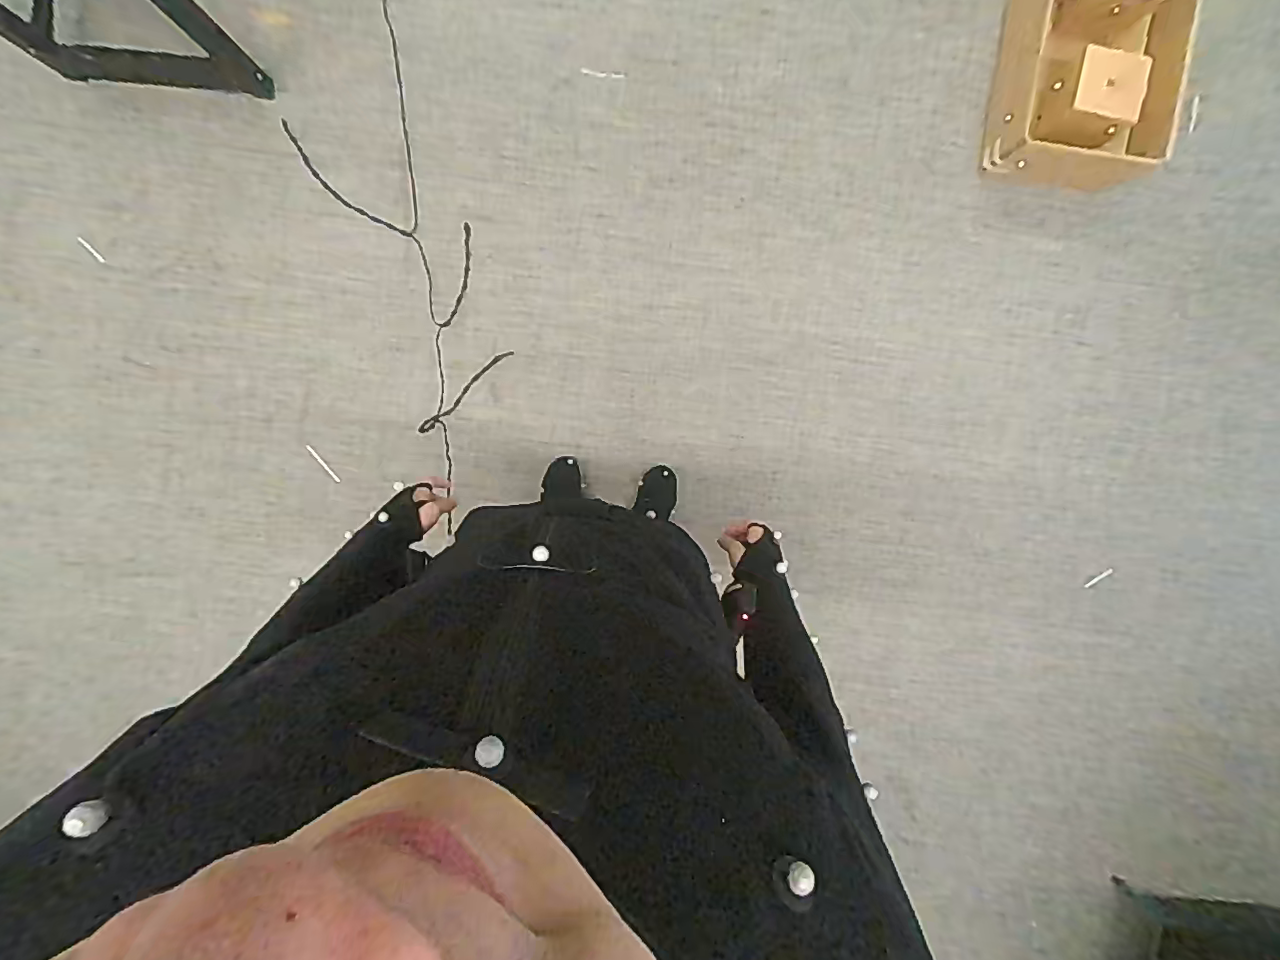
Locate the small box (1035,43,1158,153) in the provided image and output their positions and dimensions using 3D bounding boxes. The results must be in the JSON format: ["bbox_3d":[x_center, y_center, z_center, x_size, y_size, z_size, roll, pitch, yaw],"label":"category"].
[{"bbox_3d":[1.214,-1.016,1.453,0.179,0.176,0.168,11,93,-1],"label":"small box"}]

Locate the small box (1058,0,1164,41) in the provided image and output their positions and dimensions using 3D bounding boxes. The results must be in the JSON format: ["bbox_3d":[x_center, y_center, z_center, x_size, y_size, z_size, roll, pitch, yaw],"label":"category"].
[{"bbox_3d":[1.262,-1.312,1.432,0.179,0.176,0.168,7,95,-2],"label":"small box"}]
